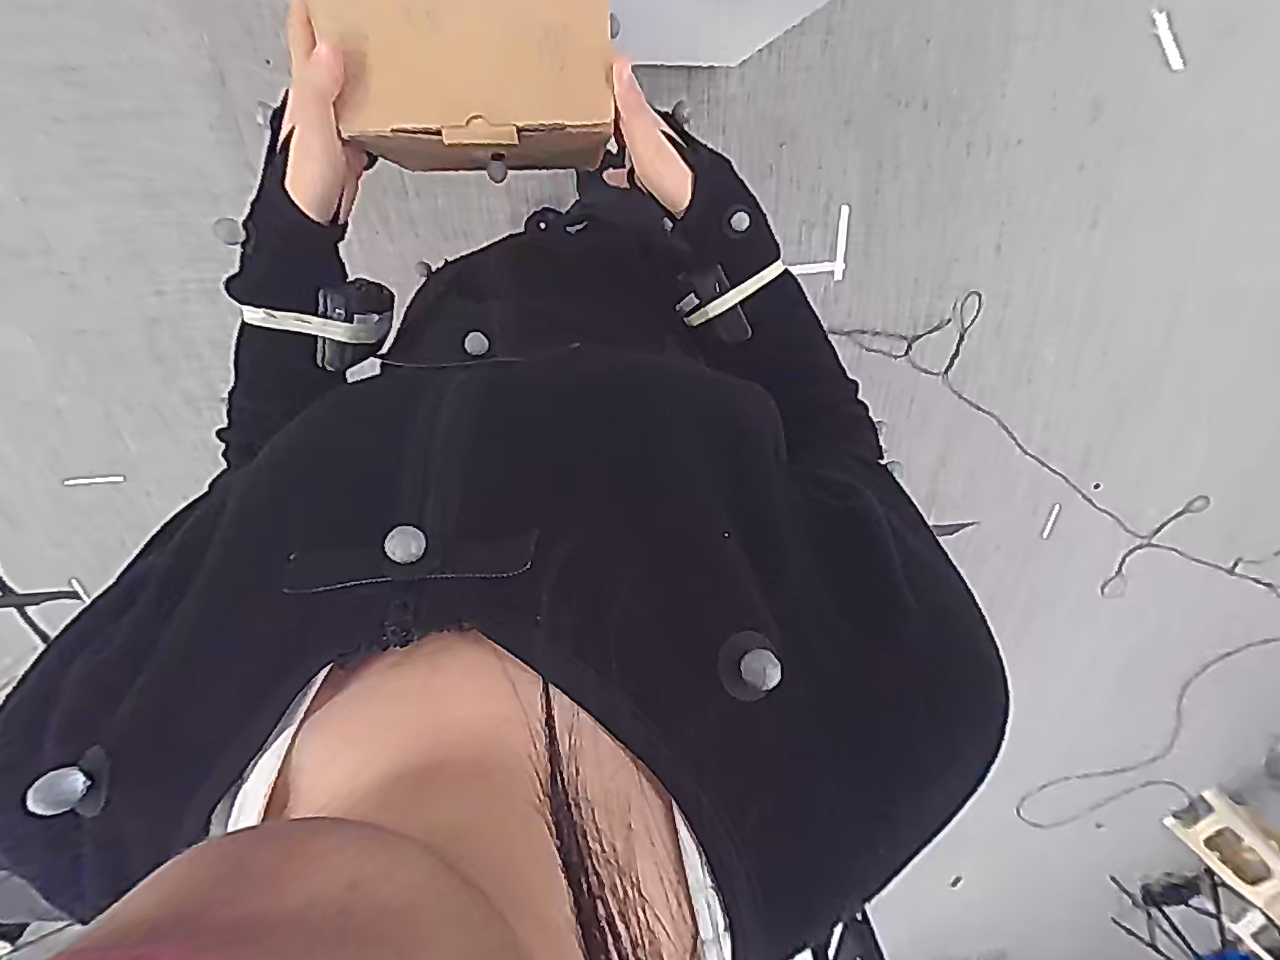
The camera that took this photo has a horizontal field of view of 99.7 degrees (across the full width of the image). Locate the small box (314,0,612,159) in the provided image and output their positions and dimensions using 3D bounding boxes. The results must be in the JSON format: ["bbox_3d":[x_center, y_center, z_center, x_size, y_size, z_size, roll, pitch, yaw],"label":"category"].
[{"bbox_3d":[-0.108,-0.325,0.366,0.168,0.176,0.179,-5,114,-6],"label":"small box"}]
